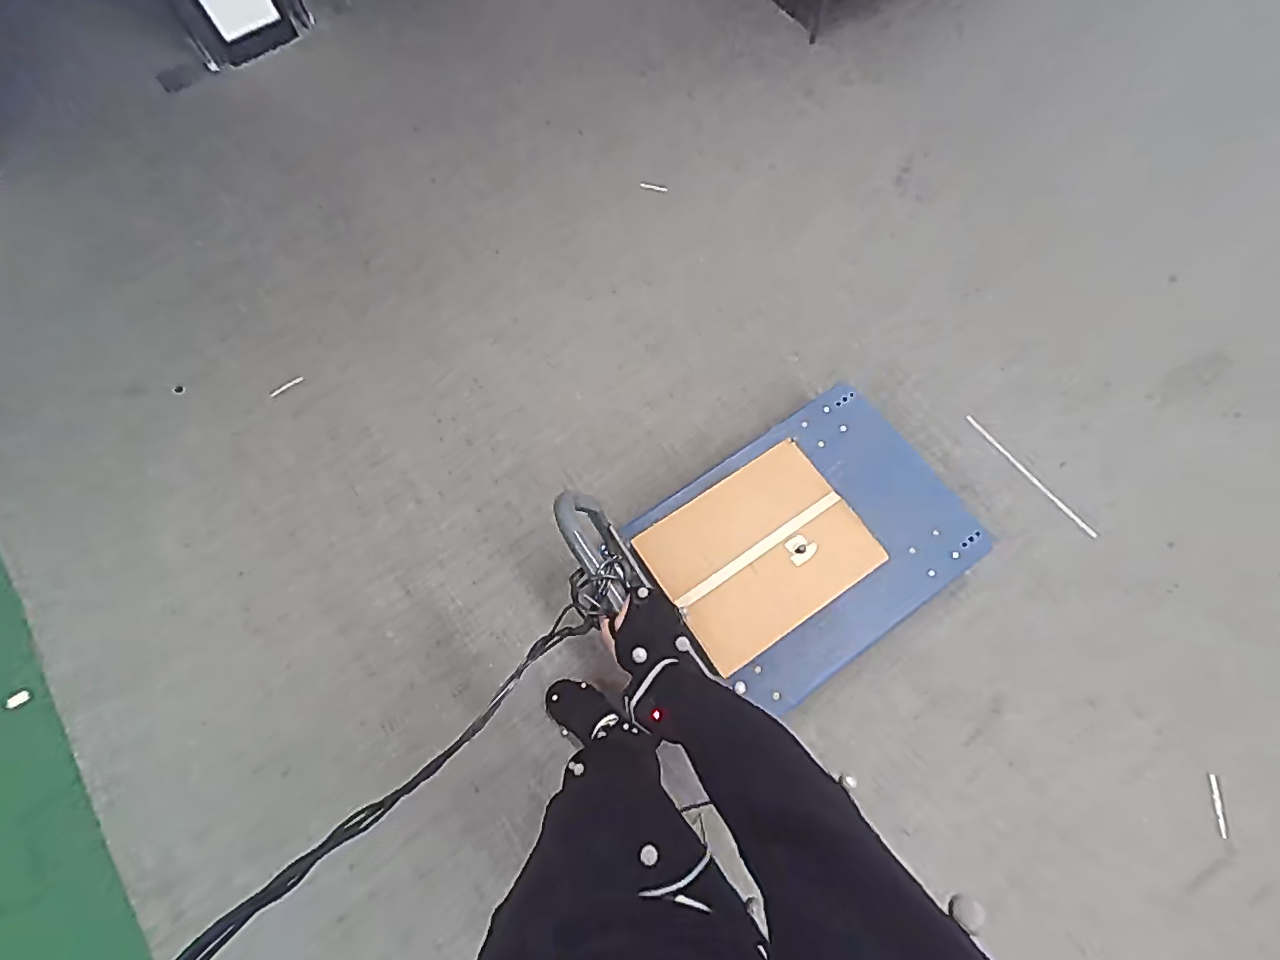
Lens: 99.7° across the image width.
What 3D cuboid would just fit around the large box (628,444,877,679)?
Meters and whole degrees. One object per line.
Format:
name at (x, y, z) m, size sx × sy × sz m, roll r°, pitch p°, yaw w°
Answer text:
large box at (0.220, 0.195, 1.204) m, size 0.408 × 0.320 × 0.320 m, roll -32°, pitch 75°, yaw -11°
